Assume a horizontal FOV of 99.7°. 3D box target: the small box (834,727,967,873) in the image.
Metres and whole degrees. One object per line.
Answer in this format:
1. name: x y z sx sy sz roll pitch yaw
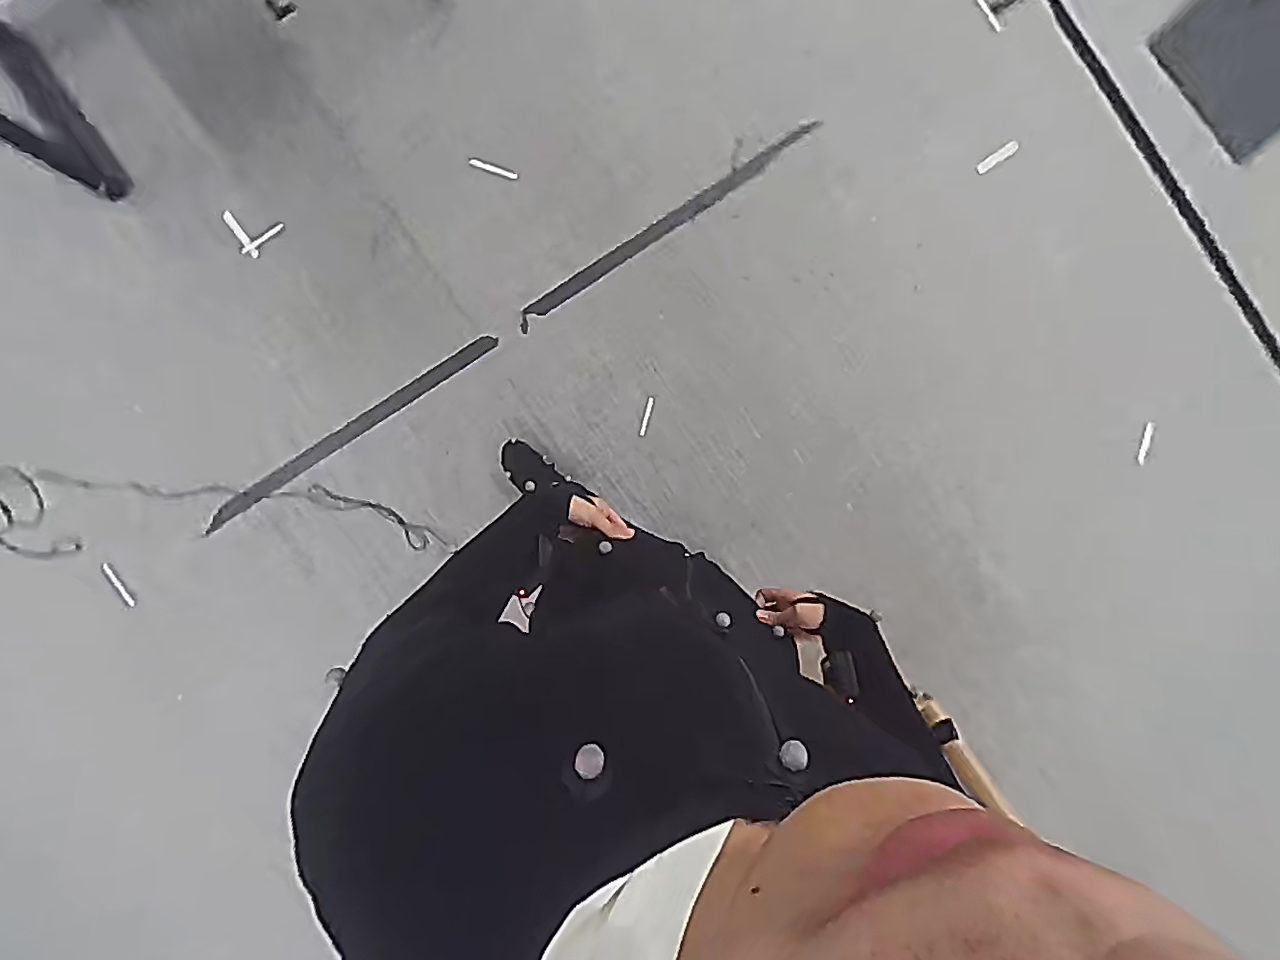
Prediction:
1. small box: 0.552 0.688 1.182 0.179 0.176 0.168 -39 94 -3
